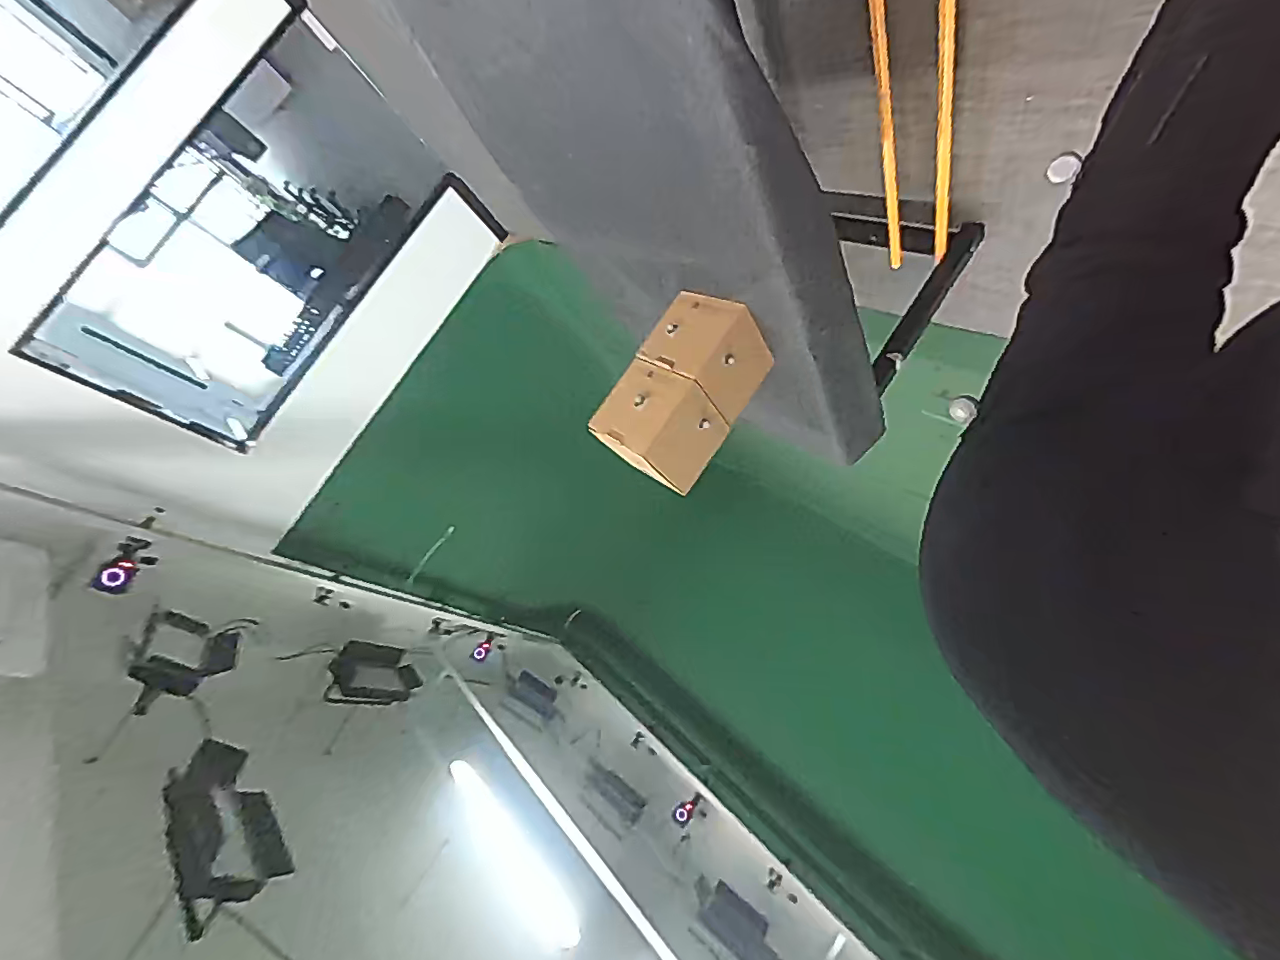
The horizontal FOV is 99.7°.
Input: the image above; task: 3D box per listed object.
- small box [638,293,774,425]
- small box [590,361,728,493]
[{"bbox_3d":[0.135,-0.243,1.072,0.168,0.176,0.179,32,175,41],"label":"small box"},{"bbox_3d":[0.043,-0.107,1.063,0.168,0.176,0.179,32,174,40],"label":"small box"}]
